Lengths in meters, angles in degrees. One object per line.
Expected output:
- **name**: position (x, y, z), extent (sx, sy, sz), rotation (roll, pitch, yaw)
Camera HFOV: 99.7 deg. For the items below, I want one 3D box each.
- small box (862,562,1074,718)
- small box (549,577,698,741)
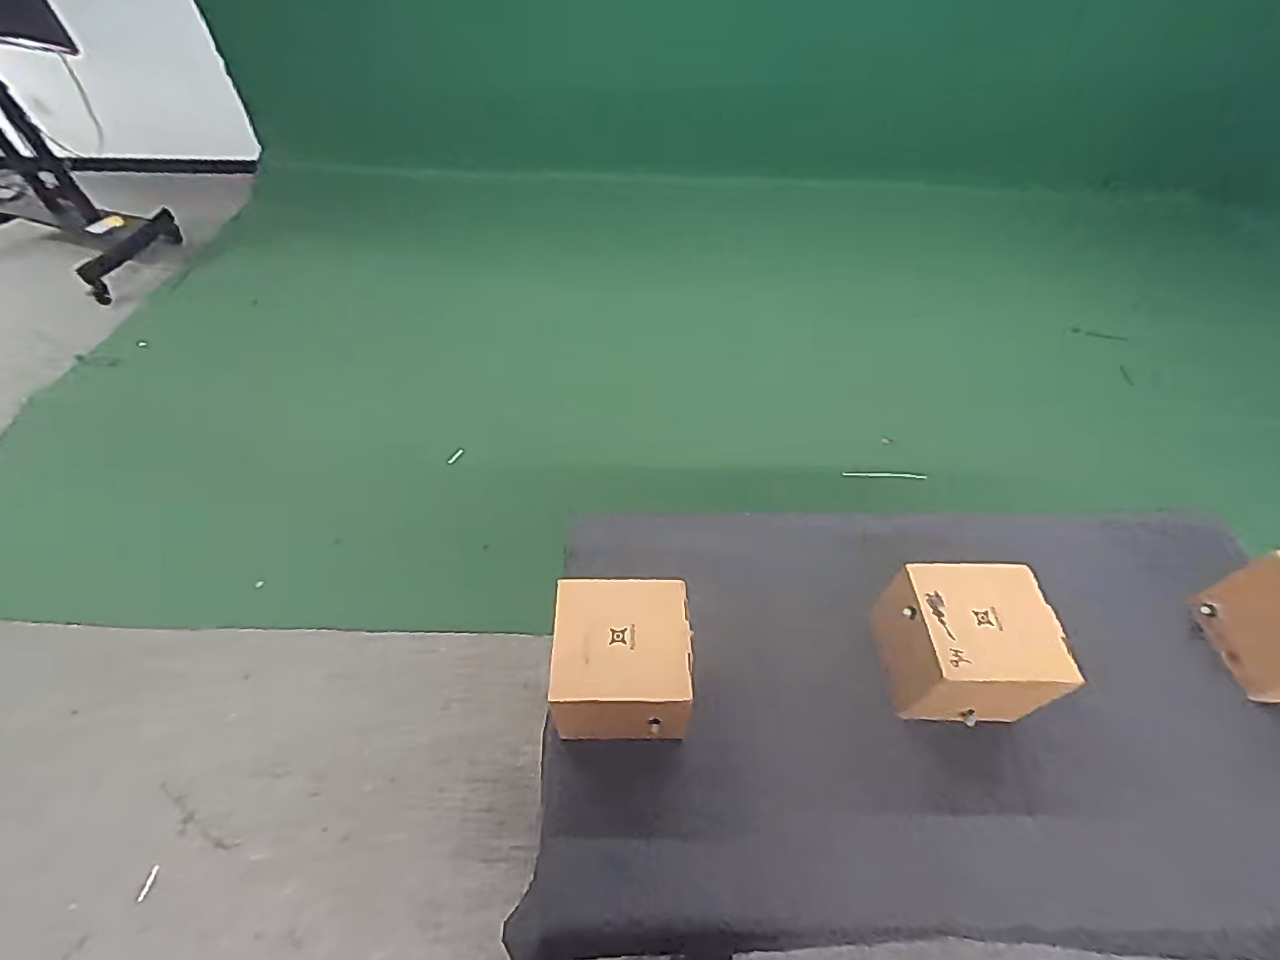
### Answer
- **small box**: position (0.454, 0.235, 0.783), extent (0.179, 0.176, 0.168), rotation (2, 50, -3)
- **small box**: position (-0.026, 0.245, 0.736), extent (0.179, 0.176, 0.168), rotation (0, 49, -4)
